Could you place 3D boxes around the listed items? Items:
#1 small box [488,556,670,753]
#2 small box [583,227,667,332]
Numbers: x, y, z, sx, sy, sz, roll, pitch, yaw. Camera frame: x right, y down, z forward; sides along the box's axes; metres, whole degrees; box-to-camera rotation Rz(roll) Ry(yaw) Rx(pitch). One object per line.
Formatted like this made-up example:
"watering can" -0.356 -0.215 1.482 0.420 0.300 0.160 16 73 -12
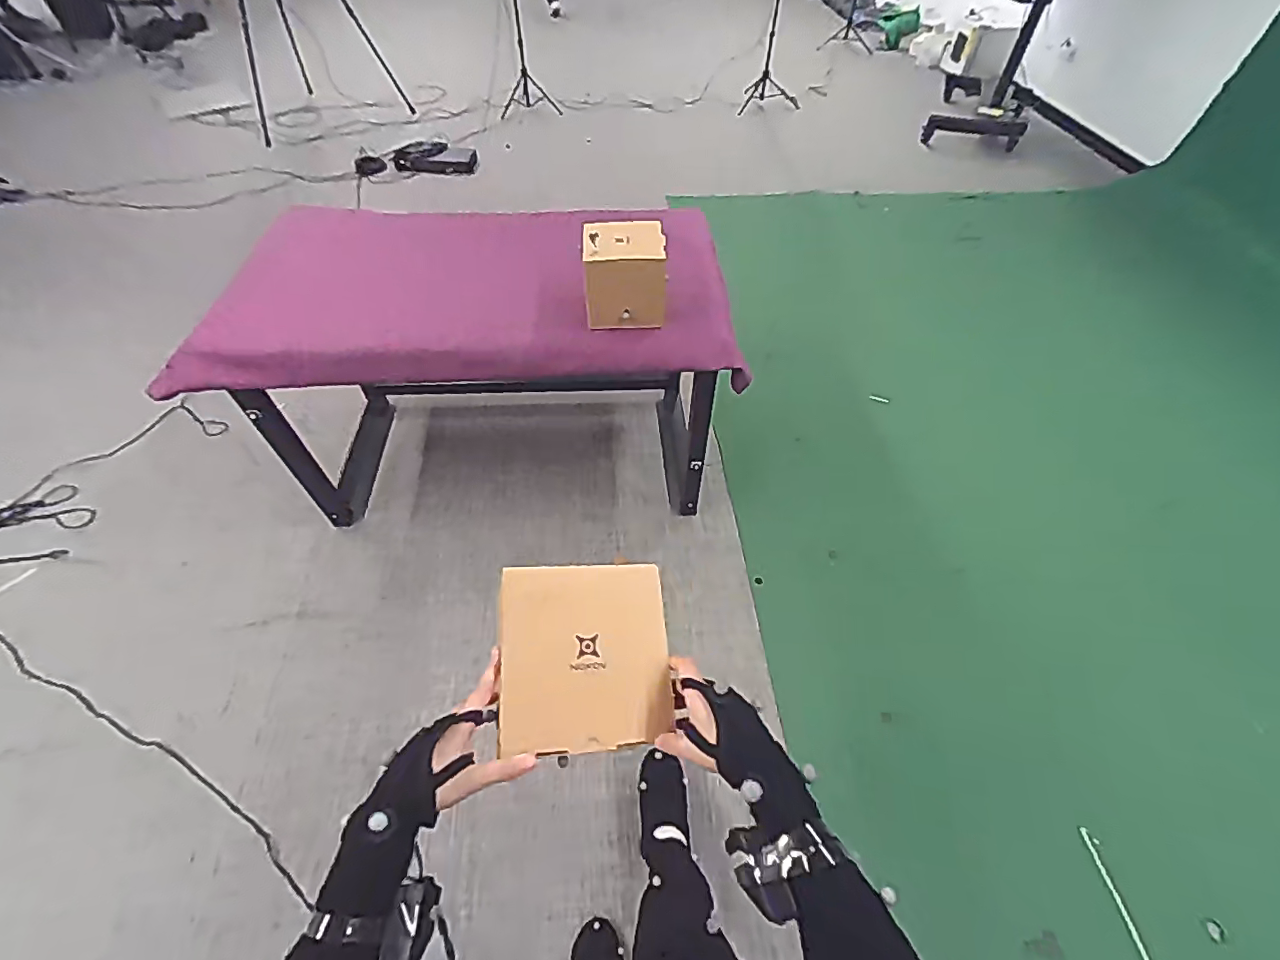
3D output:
"small box" -0.078 0.194 0.592 0.168 0.176 0.179 2 63 -15
"small box" -0.036 -0.453 1.229 0.179 0.176 0.168 -2 49 -2
